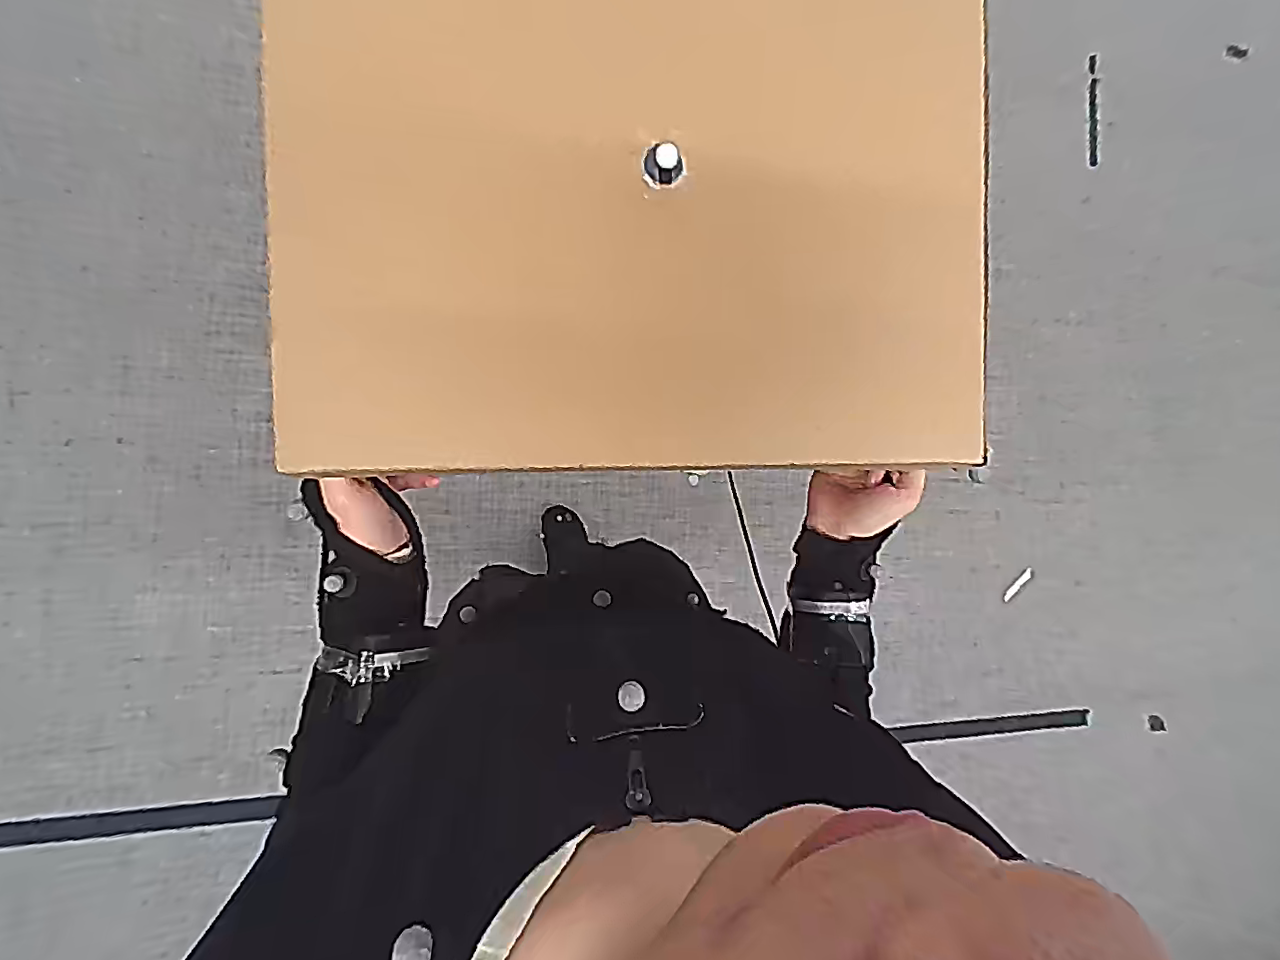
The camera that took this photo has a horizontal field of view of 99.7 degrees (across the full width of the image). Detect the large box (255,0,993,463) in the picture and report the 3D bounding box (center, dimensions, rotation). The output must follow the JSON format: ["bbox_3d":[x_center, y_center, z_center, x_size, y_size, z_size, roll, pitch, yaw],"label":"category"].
[{"bbox_3d":[-0.010,-0.175,0.438,0.408,0.320,0.320,-1,93,-8],"label":"large box"}]
